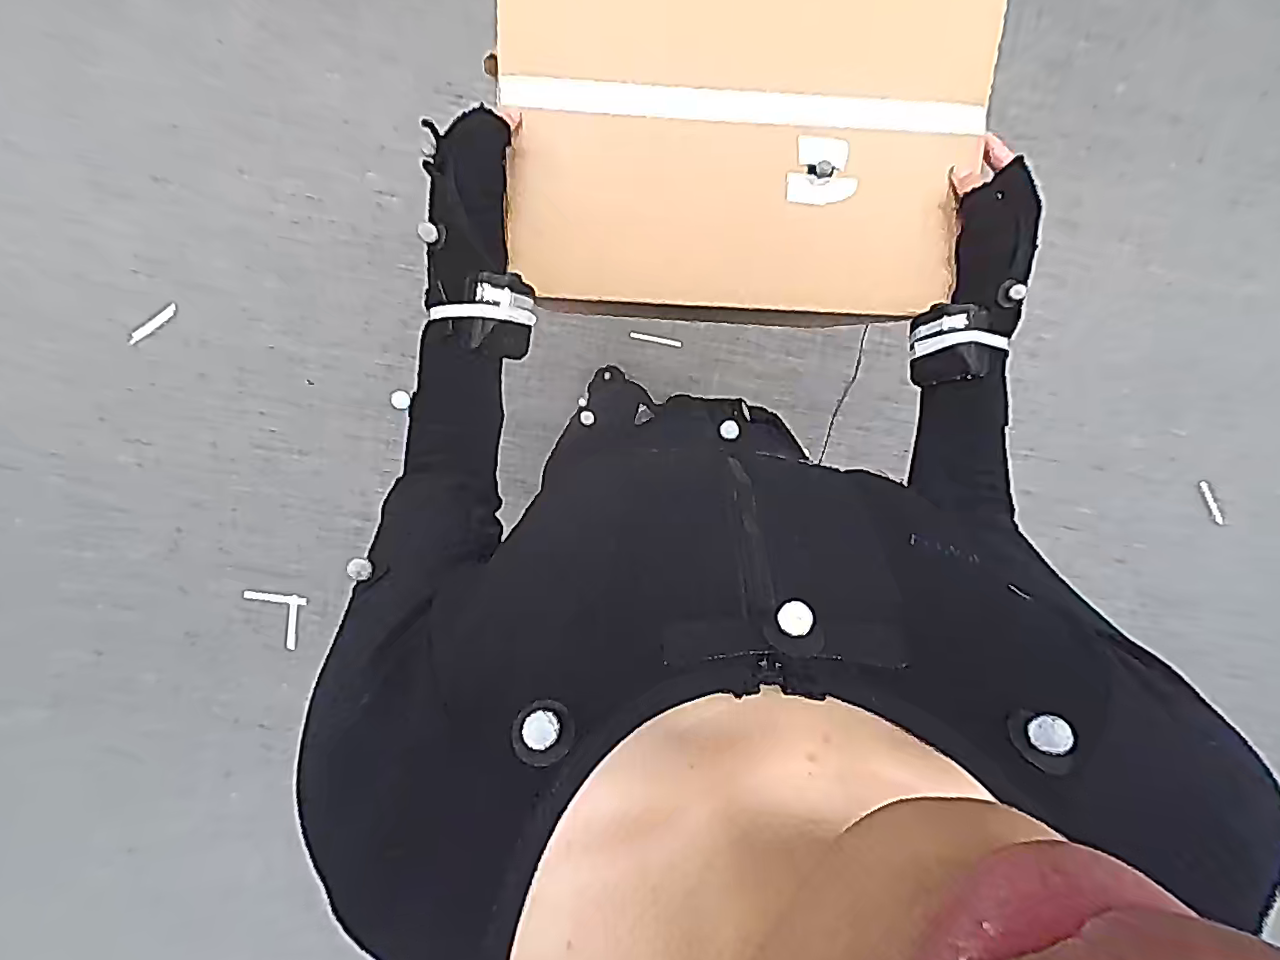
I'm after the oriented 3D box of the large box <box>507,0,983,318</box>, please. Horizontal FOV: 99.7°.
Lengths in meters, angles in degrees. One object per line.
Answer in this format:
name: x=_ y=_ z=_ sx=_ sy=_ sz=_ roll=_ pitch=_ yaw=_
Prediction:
large box: x=0.079 y=-0.355 z=0.612 sx=0.408 sy=0.320 sz=0.320 roll=2 pitch=105 yaw=-3
